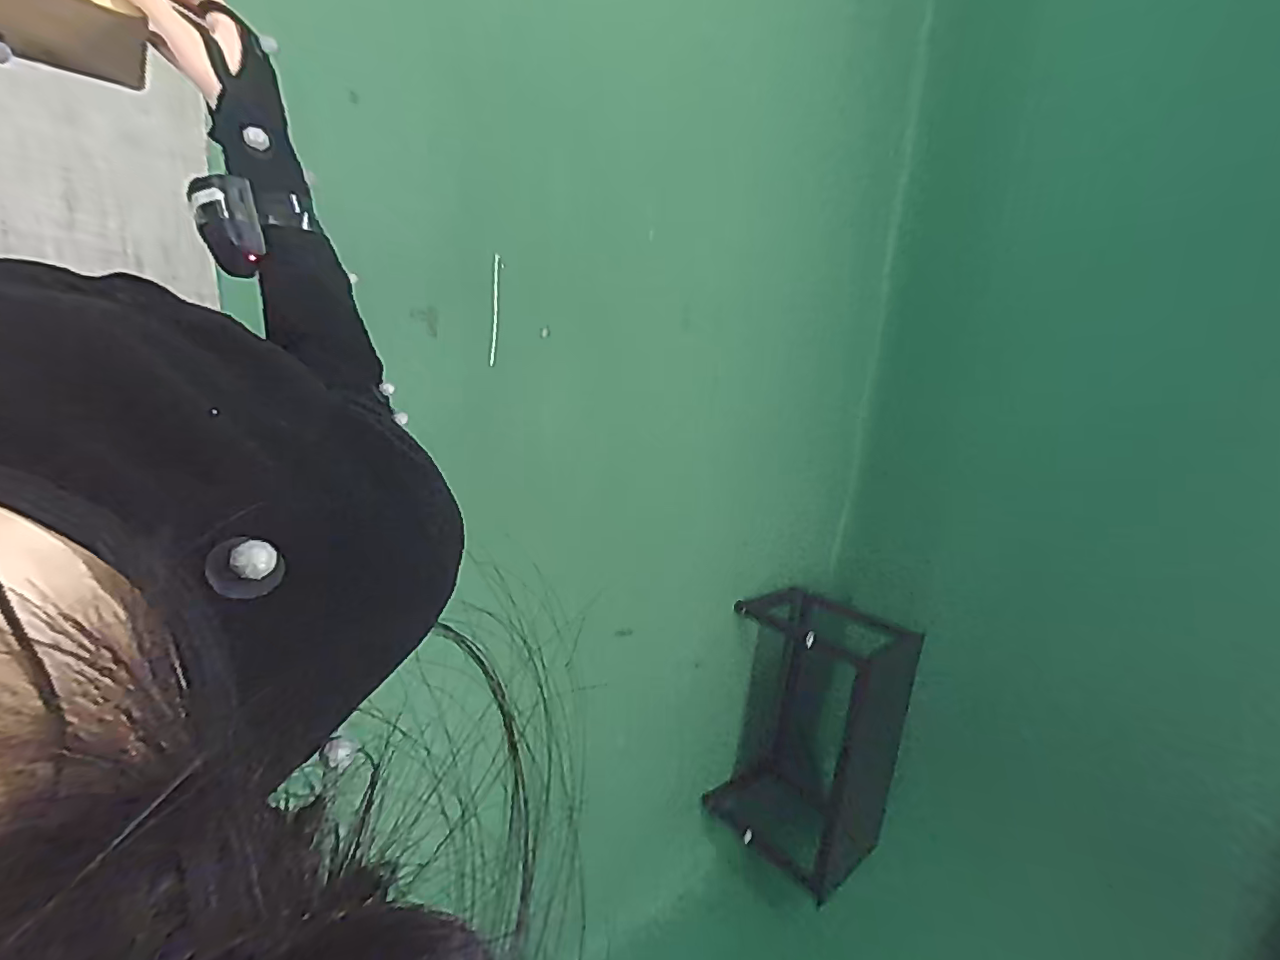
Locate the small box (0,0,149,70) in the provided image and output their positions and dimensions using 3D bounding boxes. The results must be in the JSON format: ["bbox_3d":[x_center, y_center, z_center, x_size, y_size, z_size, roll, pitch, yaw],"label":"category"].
[{"bbox_3d":[-0.462,-0.415,0.363,0.179,0.176,0.168,-9,108,-42],"label":"small box"}]

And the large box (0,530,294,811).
[{"bbox_3d":[-1.011,0.344,1.104,0.408,0.320,0.320,-23,118,-38],"label":"large box"}]
